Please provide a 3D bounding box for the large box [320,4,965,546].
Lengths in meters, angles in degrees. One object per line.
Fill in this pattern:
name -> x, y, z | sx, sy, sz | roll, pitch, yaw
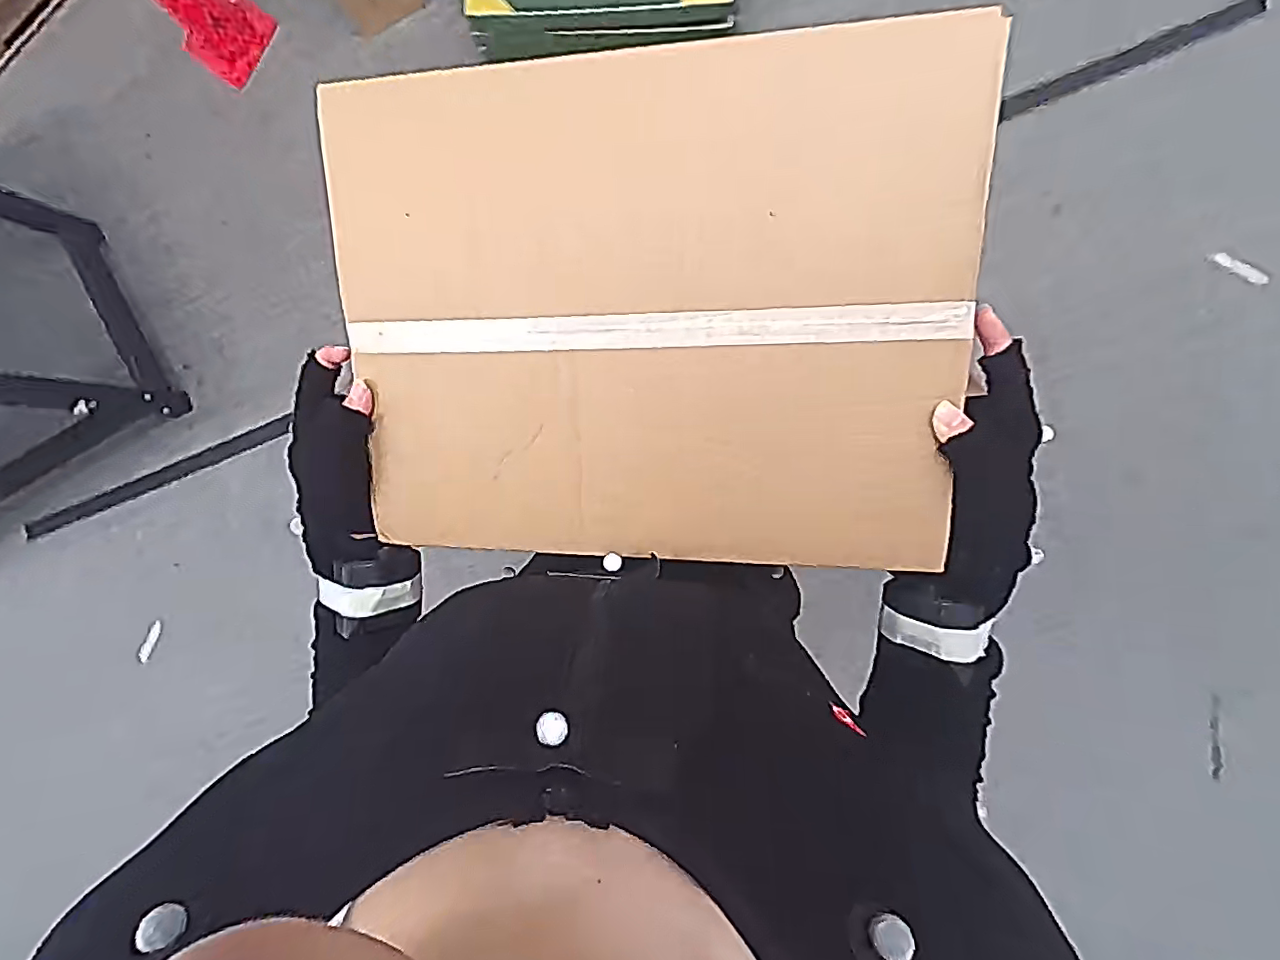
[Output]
large box -> 0.015, -0.141, 0.499 | 0.408, 0.320, 0.320 | 1, 103, 10
